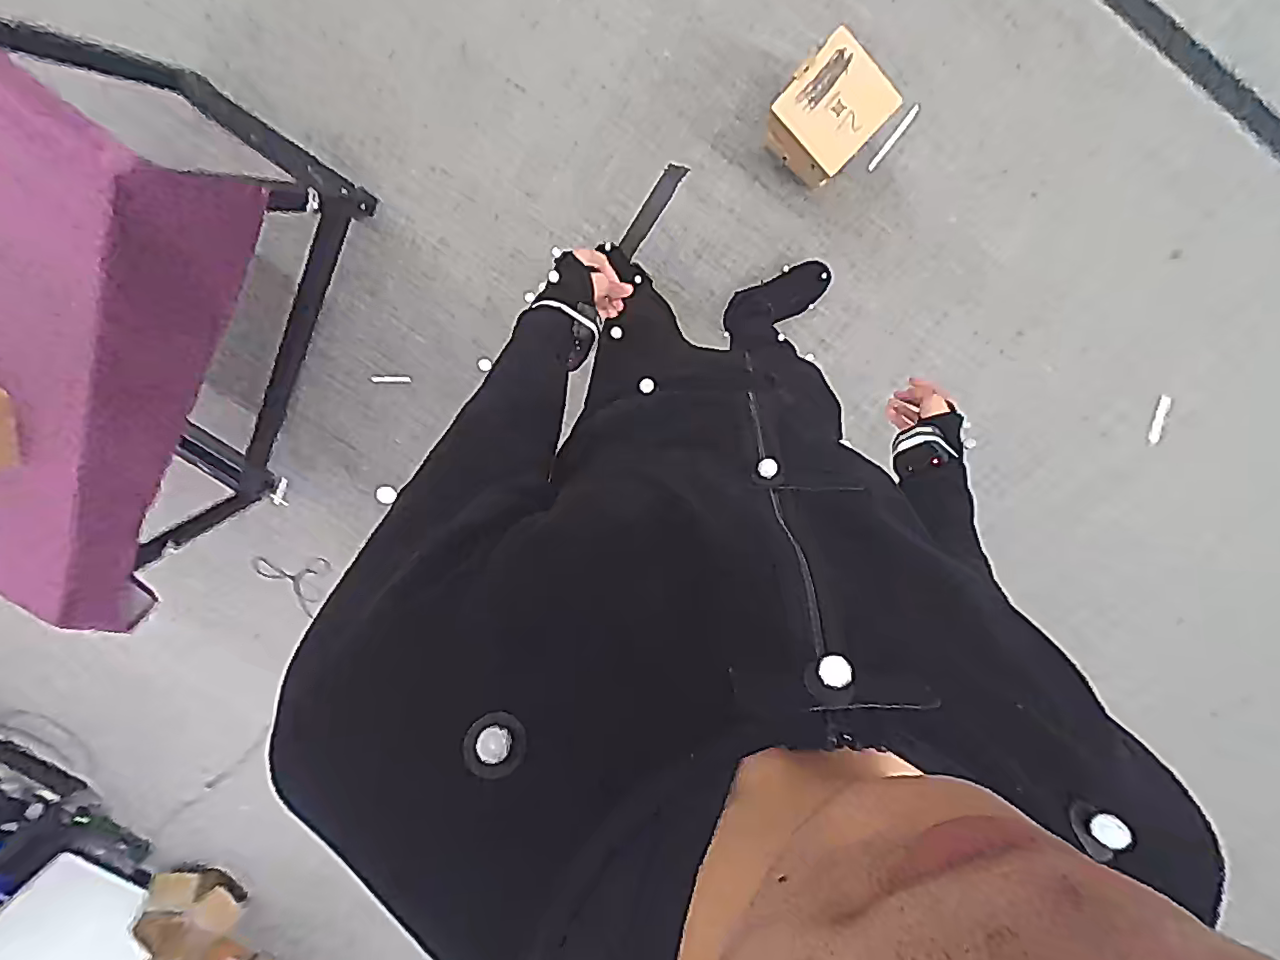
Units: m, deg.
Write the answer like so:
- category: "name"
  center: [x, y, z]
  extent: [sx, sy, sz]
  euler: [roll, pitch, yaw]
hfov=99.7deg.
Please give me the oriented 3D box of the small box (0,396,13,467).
- category: "small box"
  center: [-1.373, -0.101, 1.033]
  extent: [0.168, 0.176, 0.179]
  euler: [25, 116, -2]

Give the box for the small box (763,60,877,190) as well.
- category: "small box"
  center: [0.395, -0.783, 1.218]
  extent: [0.168, 0.176, 0.179]
  euler: [38, 115, -8]
